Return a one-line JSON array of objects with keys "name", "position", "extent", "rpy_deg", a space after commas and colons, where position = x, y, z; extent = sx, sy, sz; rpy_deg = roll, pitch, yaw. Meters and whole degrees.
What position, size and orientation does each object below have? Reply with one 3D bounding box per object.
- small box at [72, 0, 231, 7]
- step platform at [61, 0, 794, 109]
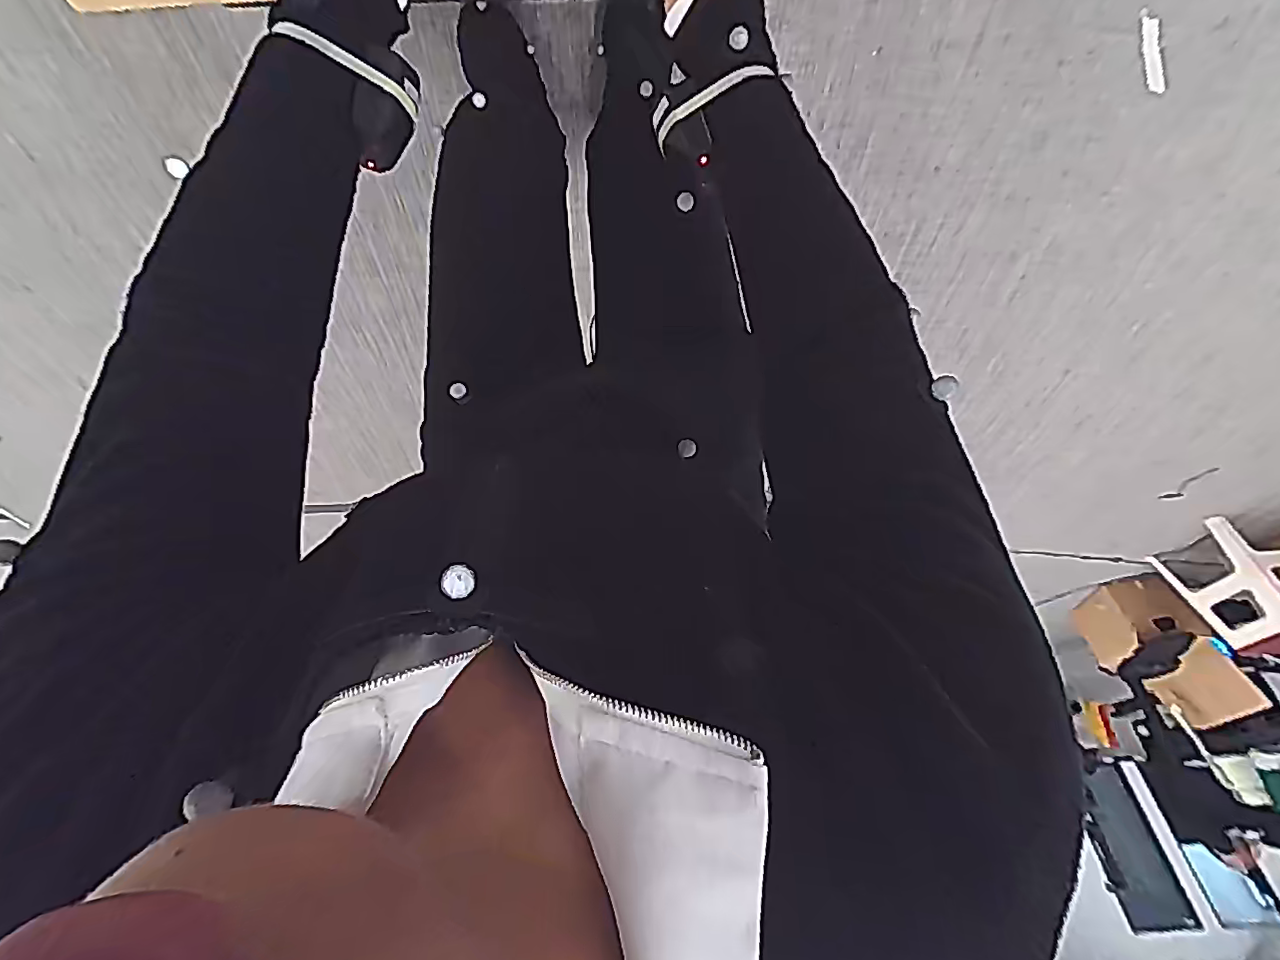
[{"name": "small box", "position": [-0.352, -0.476, 0.387], "extent": [0.168, 0.176, 0.179], "rpy_deg": [-4, 144, -1]}, {"name": "step platform", "position": [-0.193, -0.557, 0.511], "extent": [0.684, 0.204, 0.286], "rpy_deg": [-3, 143, -2]}]
